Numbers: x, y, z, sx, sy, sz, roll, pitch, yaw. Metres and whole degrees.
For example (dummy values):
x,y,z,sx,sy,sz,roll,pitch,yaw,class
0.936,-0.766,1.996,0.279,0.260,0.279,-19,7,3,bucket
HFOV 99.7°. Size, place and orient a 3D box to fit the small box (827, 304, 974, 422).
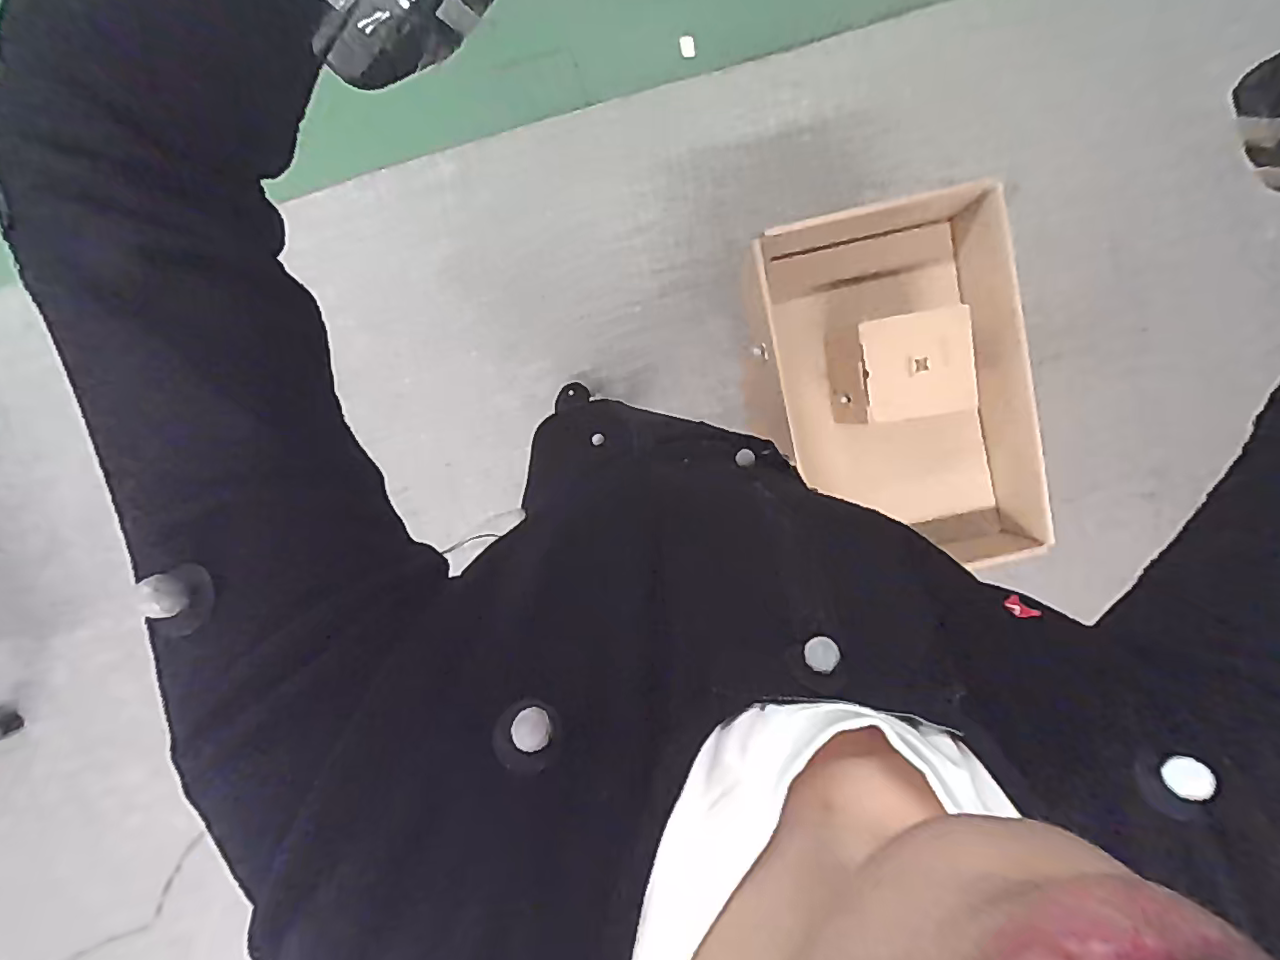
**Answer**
x,y,z,sx,sy,sz,roll,pitch,yaw,class
0.439,-0.195,0.940,0.179,0.176,0.168,-10,98,0,small box
